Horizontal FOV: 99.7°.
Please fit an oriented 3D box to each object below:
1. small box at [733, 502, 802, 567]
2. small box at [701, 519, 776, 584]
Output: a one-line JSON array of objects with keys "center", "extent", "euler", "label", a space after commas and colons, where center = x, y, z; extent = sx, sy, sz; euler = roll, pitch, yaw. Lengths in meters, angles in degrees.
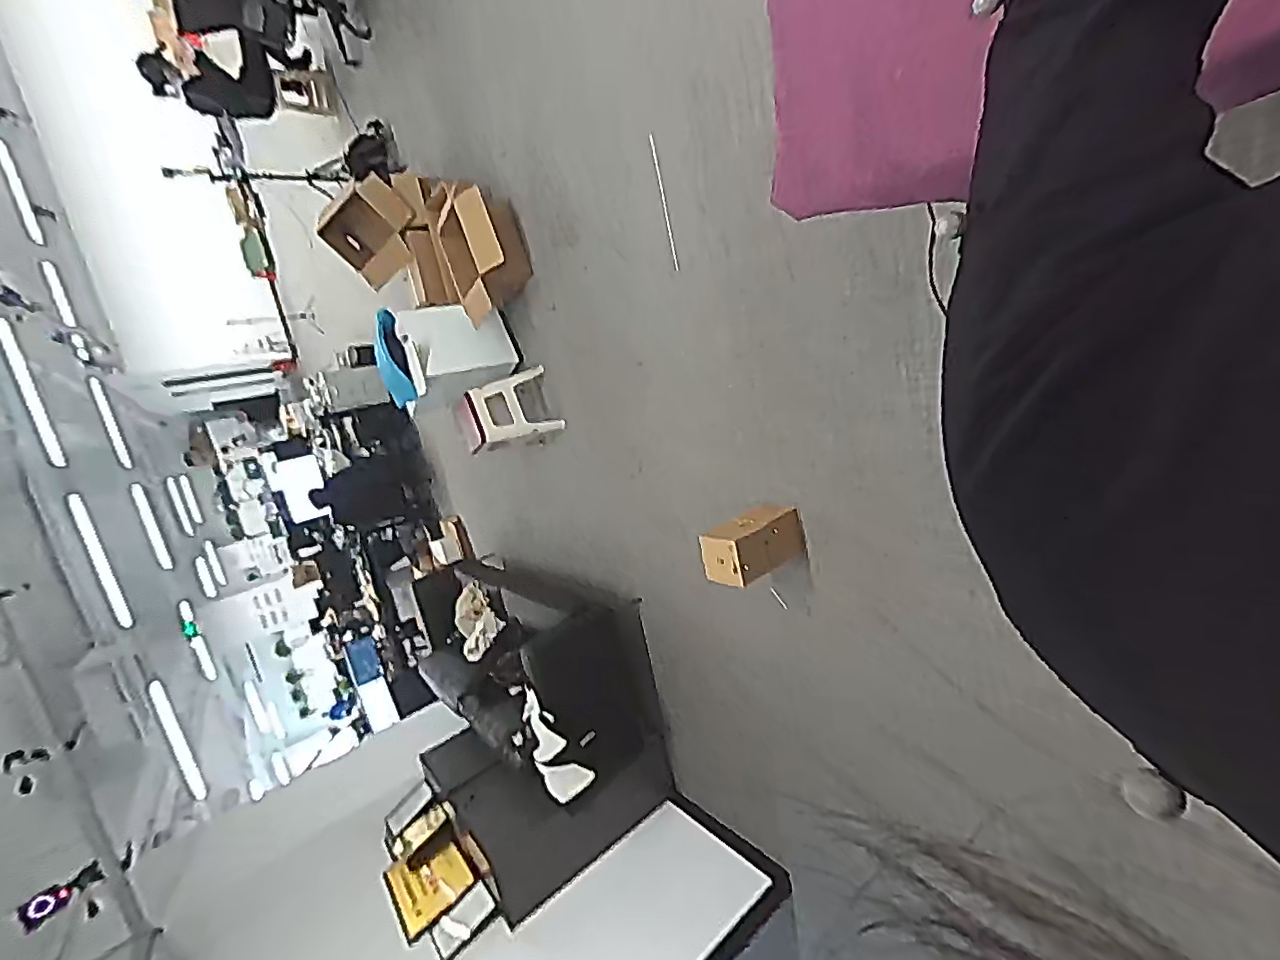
[{"center": [0.467, 0.194, 1.961], "extent": [0.168, 0.176, 0.179], "euler": [2, 108, 53], "label": "small box"}, {"center": [0.340, 0.239, 1.867], "extent": [0.179, 0.176, 0.168], "euler": [3, 109, 54], "label": "small box"}]
